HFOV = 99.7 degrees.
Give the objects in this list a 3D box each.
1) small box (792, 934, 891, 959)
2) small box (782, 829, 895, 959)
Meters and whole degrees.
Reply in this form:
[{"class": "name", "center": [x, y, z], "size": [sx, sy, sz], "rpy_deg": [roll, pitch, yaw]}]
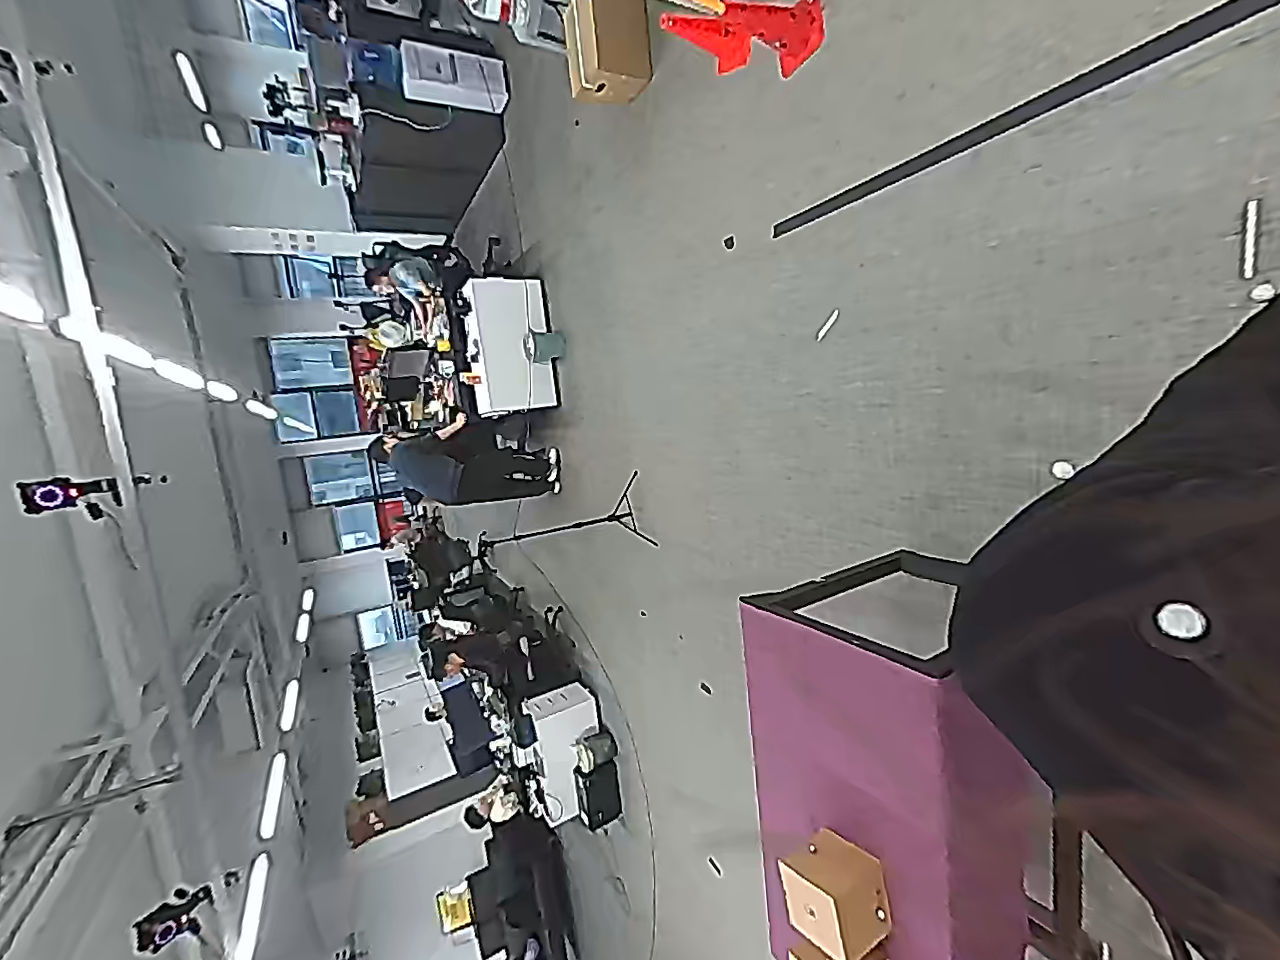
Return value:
[{"class": "small box", "center": [0.512, 1.239, 1.338], "size": [0.179, 0.176, 0.168], "rpy_deg": [-10, 91, 62]}, {"class": "small box", "center": [0.480, 0.990, 1.311], "size": [0.179, 0.176, 0.168], "rpy_deg": [-12, 90, 62]}]
